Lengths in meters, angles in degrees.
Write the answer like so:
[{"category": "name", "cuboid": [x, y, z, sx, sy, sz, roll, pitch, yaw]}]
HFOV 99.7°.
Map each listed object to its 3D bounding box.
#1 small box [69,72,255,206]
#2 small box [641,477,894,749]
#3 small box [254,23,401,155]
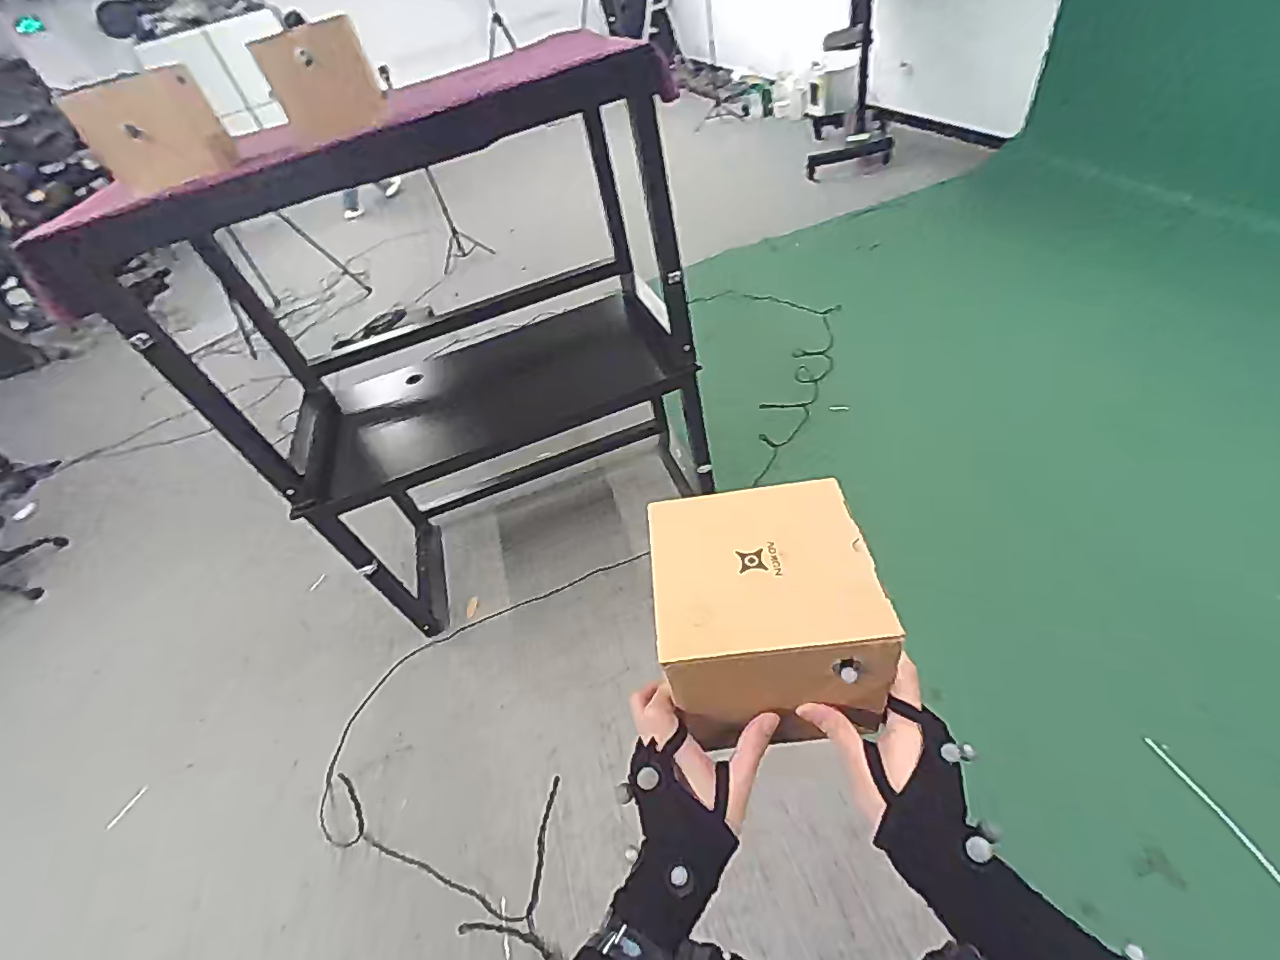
[{"category": "small box", "cuboid": [-0.888, -0.646, 1.028, 0.179, 0.176, 0.168, -22, 43, -5]}, {"category": "small box", "cuboid": [0.102, 0.123, 0.487, 0.179, 0.176, 0.168, -8, 41, 4]}, {"category": "small box", "cuboid": [-0.593, -0.757, 1.052, 0.179, 0.176, 0.168, -21, 43, -5]}]
